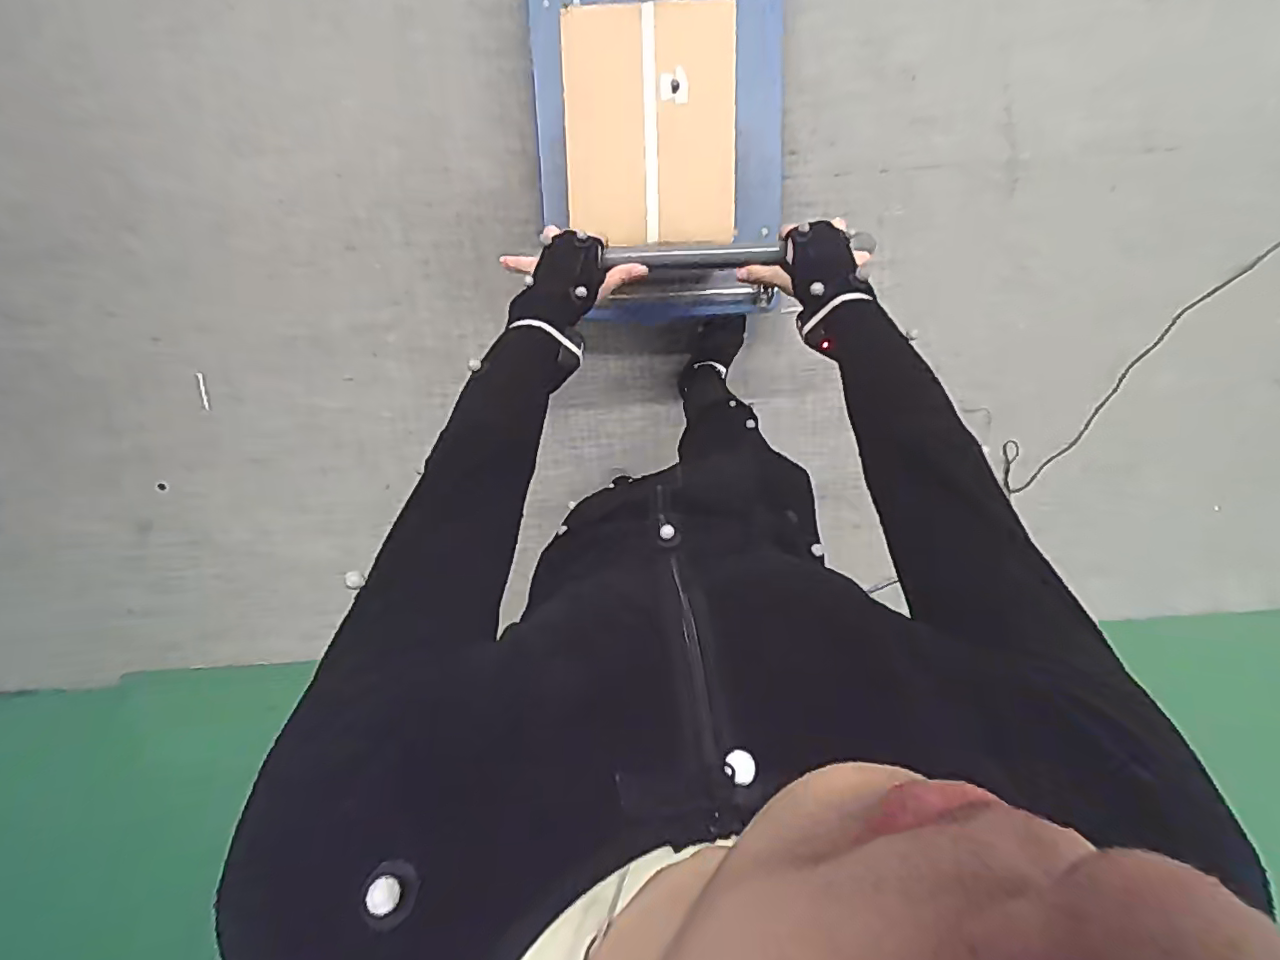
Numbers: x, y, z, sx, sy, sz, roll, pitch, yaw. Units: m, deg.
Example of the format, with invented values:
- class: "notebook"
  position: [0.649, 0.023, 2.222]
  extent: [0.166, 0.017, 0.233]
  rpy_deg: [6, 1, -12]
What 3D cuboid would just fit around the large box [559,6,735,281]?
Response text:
- class: "large box"
  position: [0.020, -0.664, 1.142]
  extent: [0.320, 0.320, 0.408]
  rpy_deg: [-2, 99, 1]
